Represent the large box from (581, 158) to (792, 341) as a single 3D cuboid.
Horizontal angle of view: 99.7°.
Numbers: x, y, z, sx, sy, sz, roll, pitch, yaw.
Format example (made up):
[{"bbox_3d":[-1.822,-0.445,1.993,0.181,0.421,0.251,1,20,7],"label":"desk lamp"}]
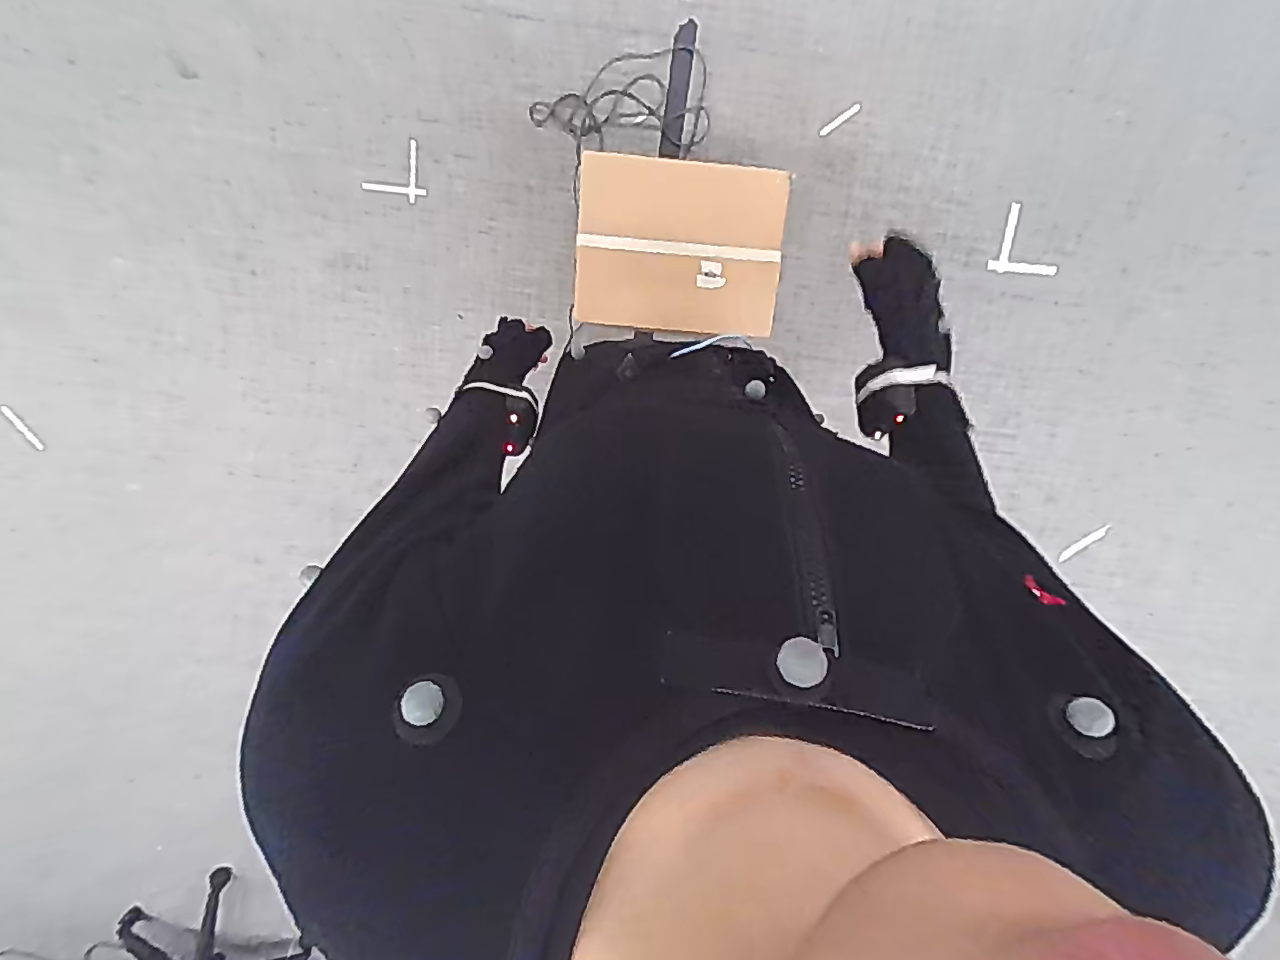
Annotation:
[{"bbox_3d":[0.081,-0.490,1.223,0.408,0.320,0.320,5,104,-3],"label":"large box"}]
